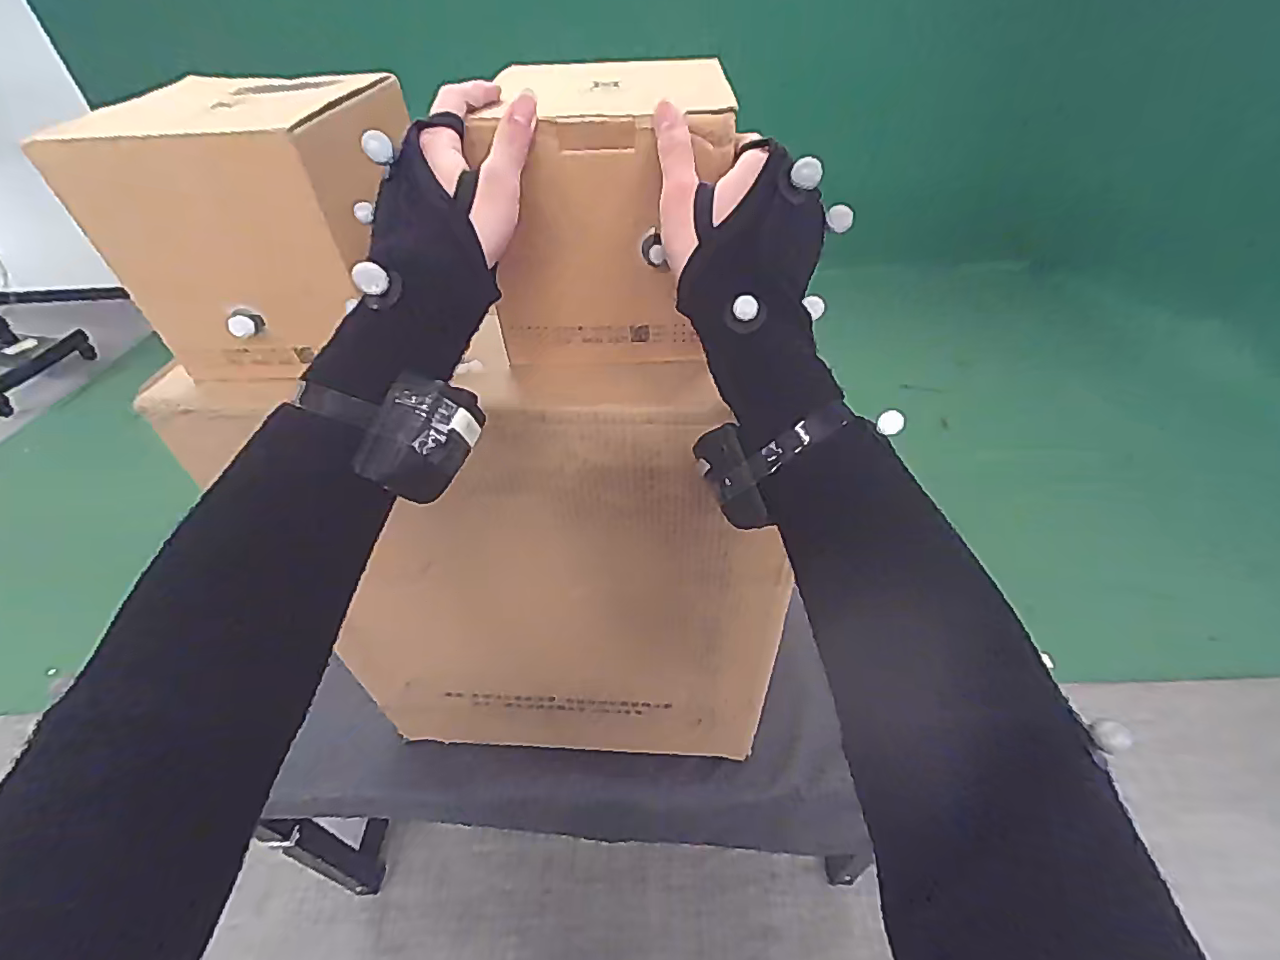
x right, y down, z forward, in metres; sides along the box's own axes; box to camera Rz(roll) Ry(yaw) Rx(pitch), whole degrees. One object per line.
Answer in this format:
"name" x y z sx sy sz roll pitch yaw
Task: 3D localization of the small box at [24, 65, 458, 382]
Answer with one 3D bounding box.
"small box" -0.255 -0.194 0.409 0.168 0.176 0.179 1 46 5
